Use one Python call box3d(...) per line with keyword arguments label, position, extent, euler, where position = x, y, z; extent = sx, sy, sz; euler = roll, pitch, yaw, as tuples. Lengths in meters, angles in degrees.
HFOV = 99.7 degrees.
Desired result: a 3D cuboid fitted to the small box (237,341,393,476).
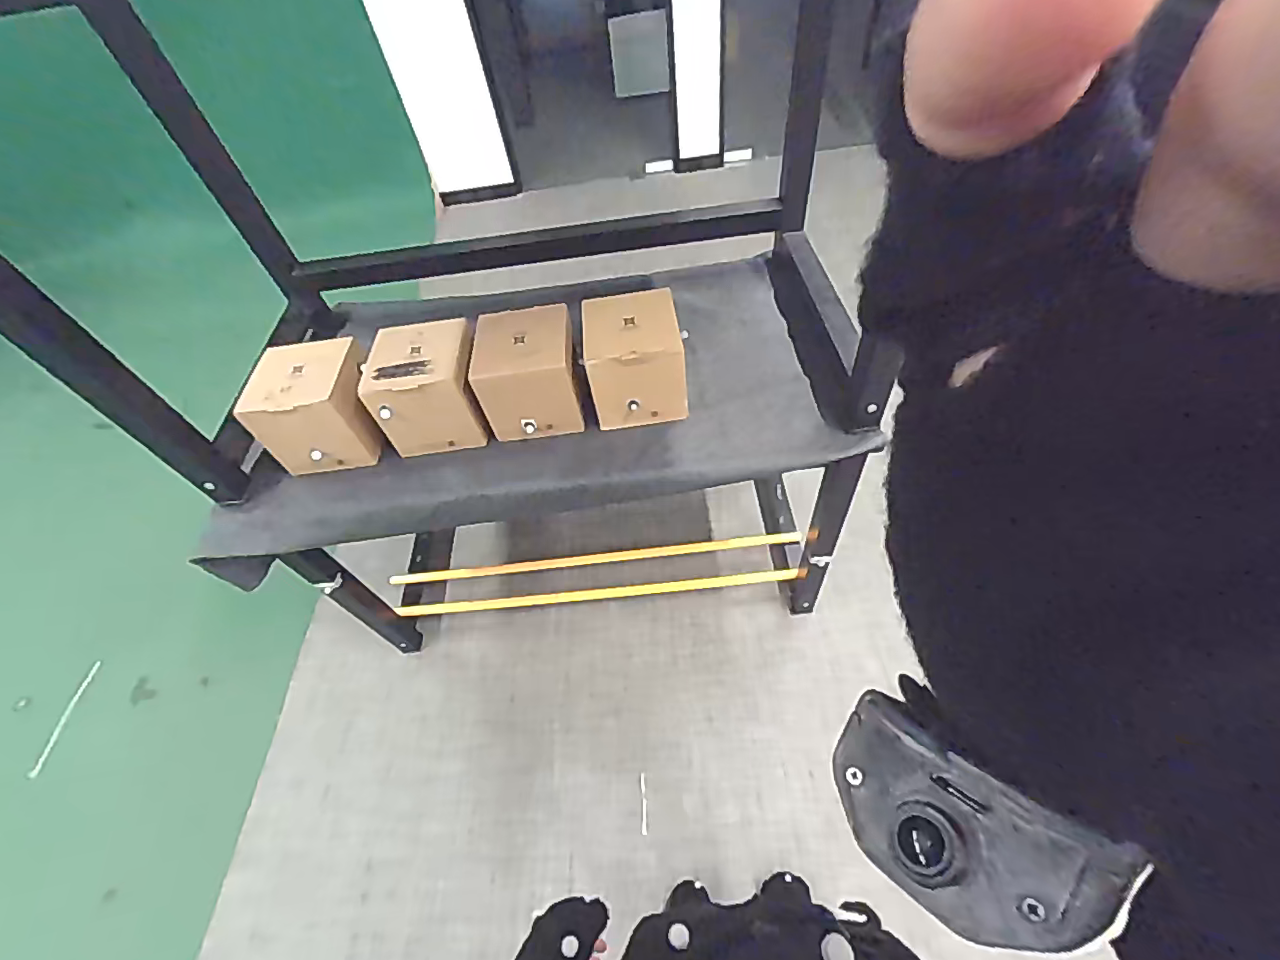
box3d(label="small box", position=(-0.586, -0.131, 1.006), extent=(0.168, 0.176, 0.179), euler=(-7, 52, 2))
